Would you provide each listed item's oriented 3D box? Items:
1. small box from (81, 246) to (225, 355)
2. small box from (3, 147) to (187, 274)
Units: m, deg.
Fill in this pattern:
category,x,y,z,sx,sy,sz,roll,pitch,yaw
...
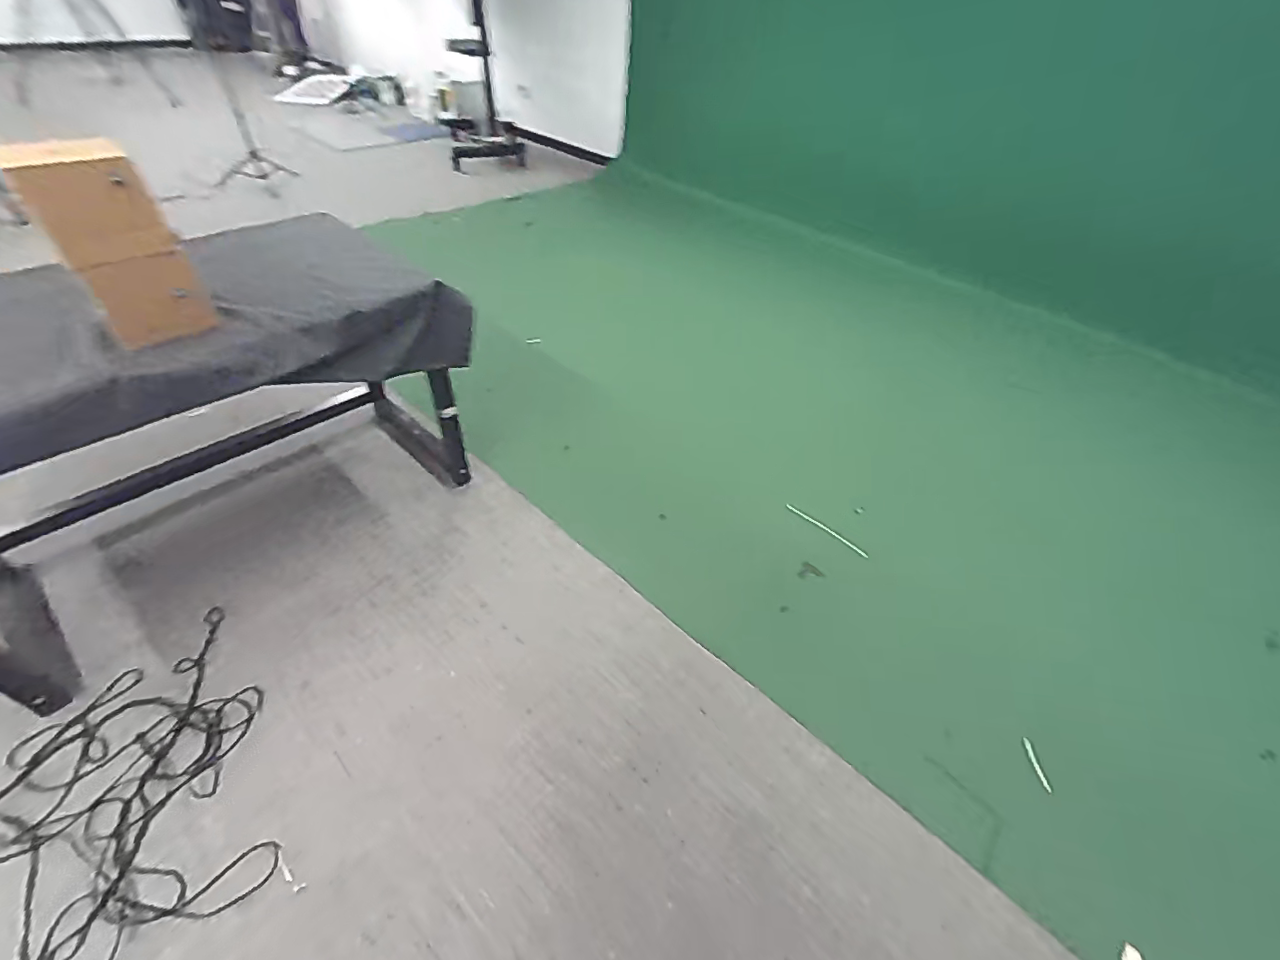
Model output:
category,x,y,z,sx,sy,sz,roll,pitch,yaw
small box,-1.010,-0.387,1.125,0.168,0.176,0.179,33,51,28
small box,-1.009,-0.503,1.011,0.168,0.176,0.179,35,50,29
